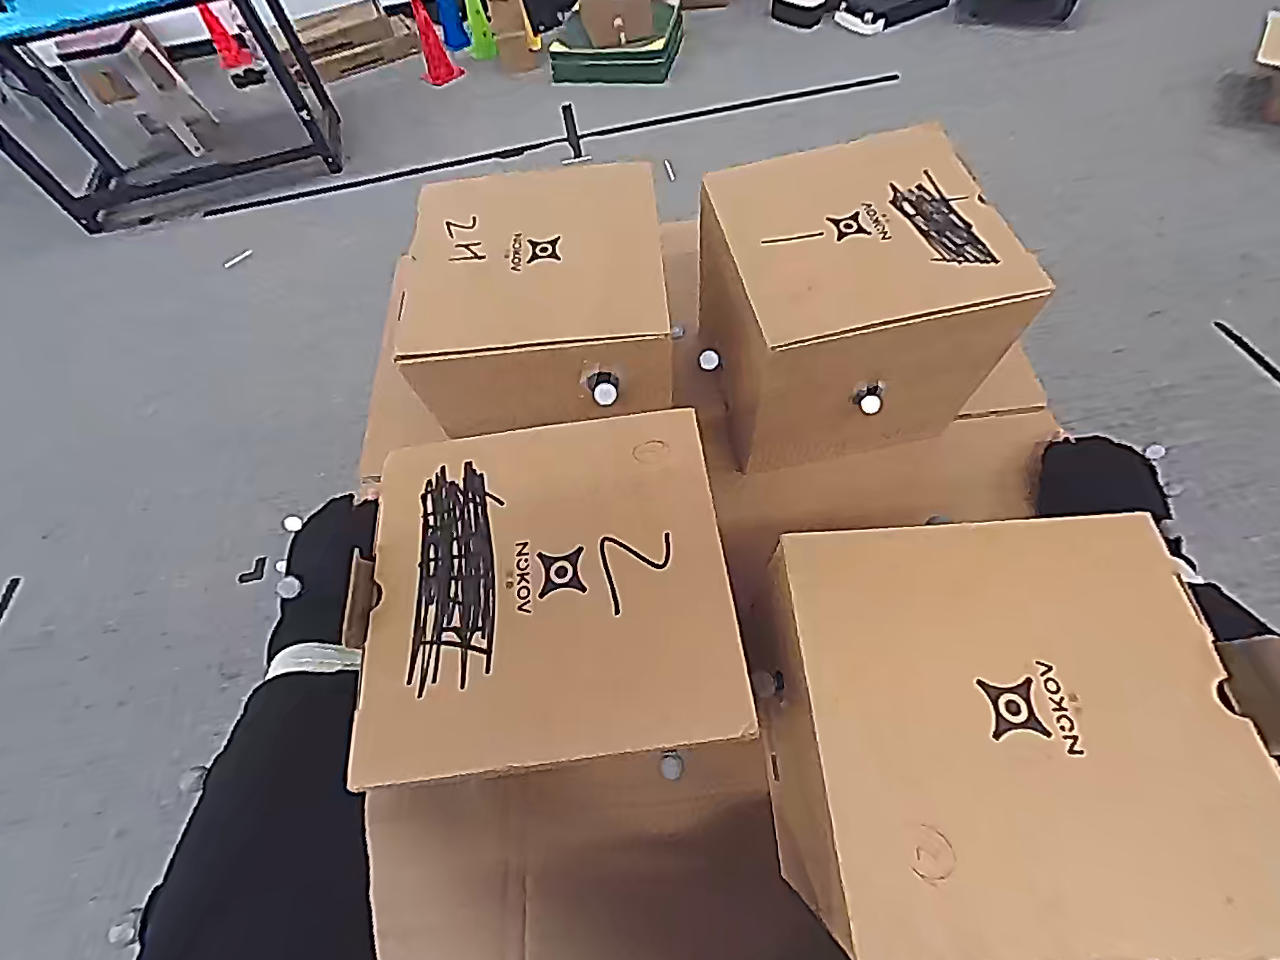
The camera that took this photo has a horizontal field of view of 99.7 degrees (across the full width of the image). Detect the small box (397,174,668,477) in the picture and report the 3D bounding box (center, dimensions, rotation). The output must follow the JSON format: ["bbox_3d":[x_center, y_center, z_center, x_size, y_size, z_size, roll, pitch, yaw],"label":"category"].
[{"bbox_3d":[-0.068,-0.115,0.447,0.179,0.176,0.168,-5,63,3],"label":"small box"}]
